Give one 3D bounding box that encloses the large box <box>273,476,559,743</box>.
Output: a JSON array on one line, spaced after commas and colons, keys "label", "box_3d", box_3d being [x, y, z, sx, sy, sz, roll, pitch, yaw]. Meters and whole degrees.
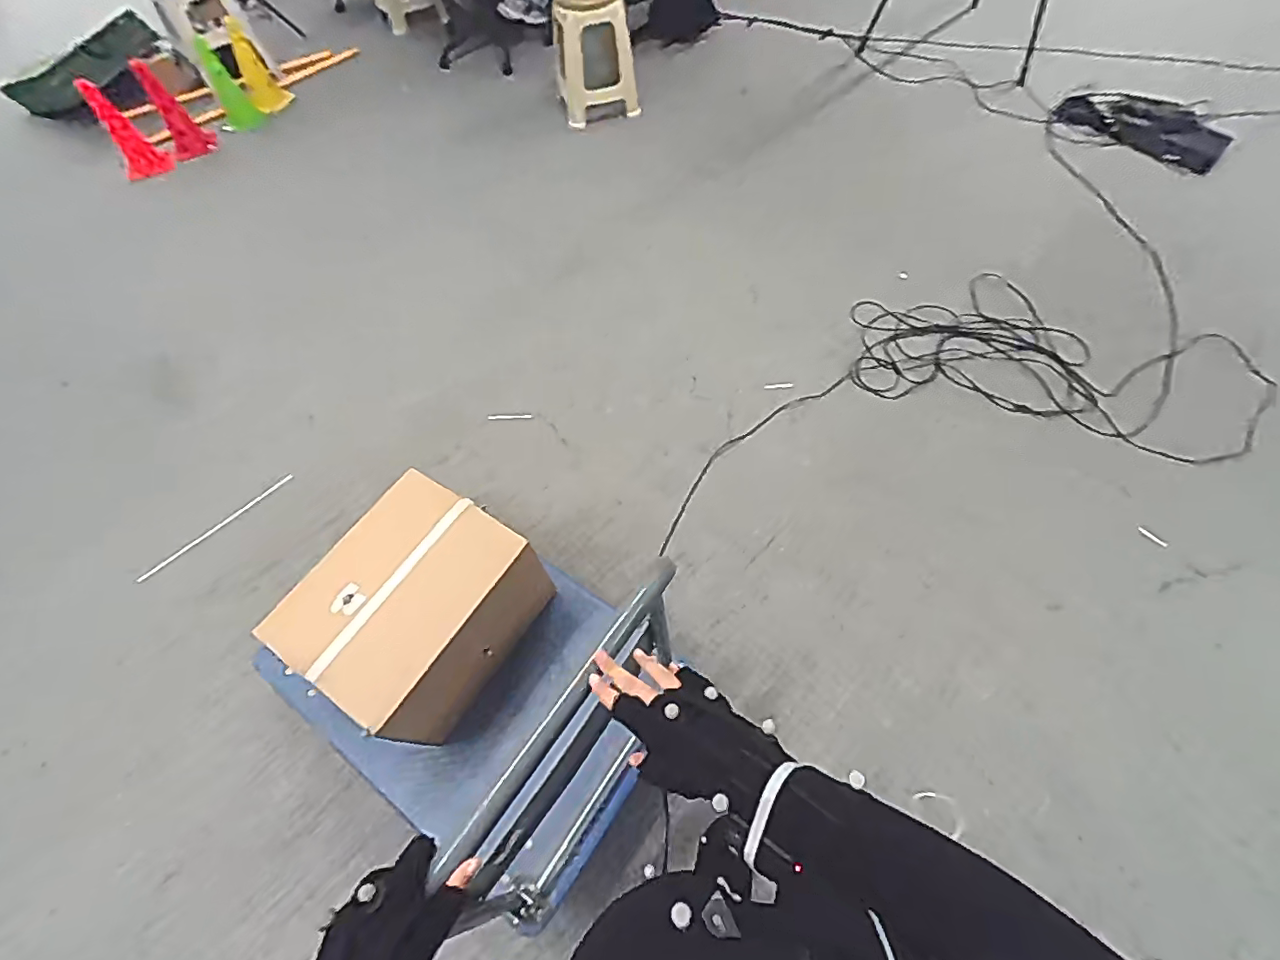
[{"label": "large box", "box_3d": [-0.422, 0.274, 1.131, 0.320, 0.320, 0.408, 27, 66, 17]}]
